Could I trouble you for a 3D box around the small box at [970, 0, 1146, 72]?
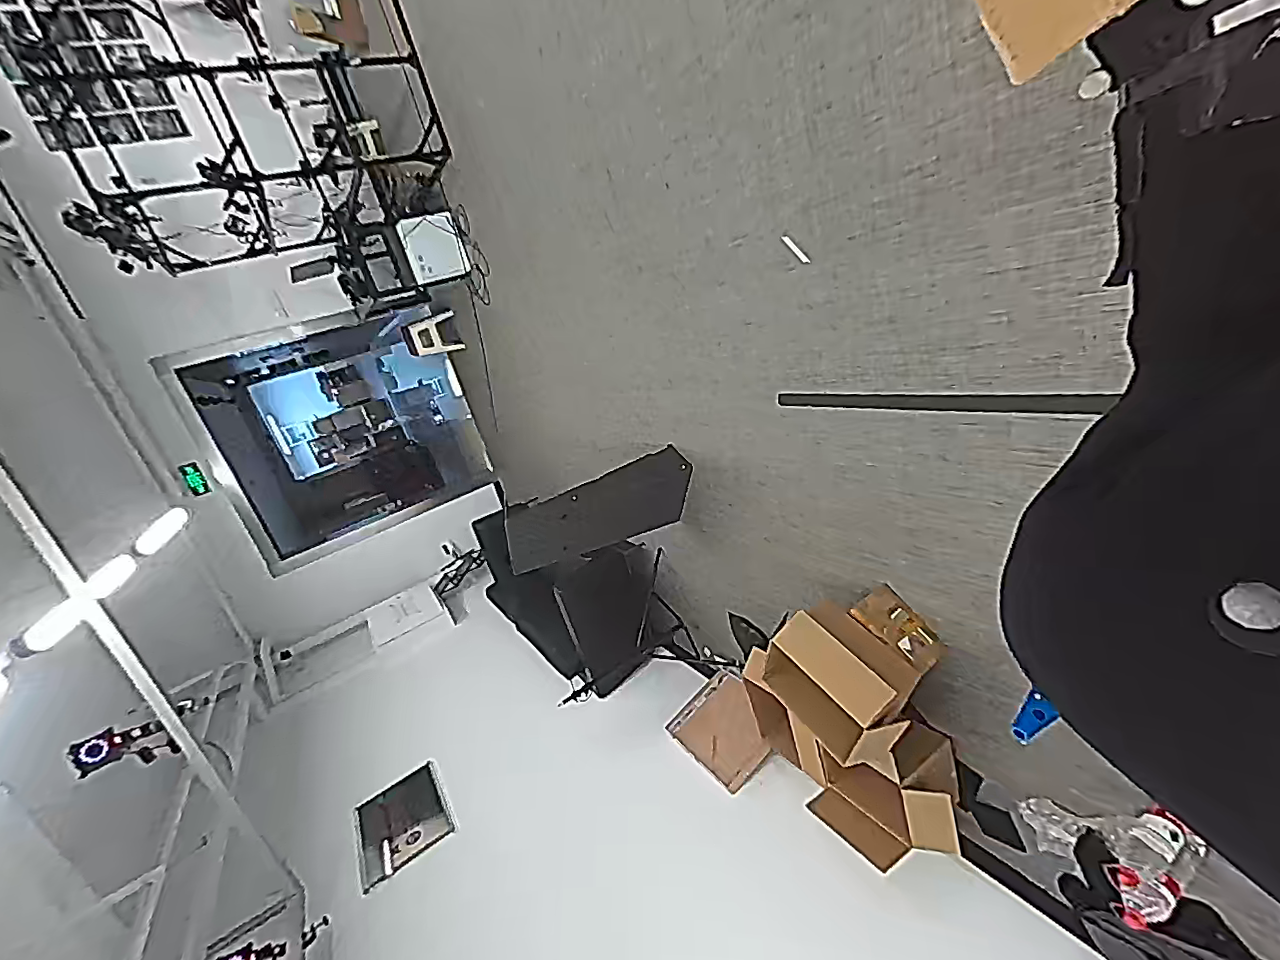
[{"bbox_3d":[0.197,-0.294,0.192,0.168,0.176,0.179,-29,102,34],"label":"small box"}]
